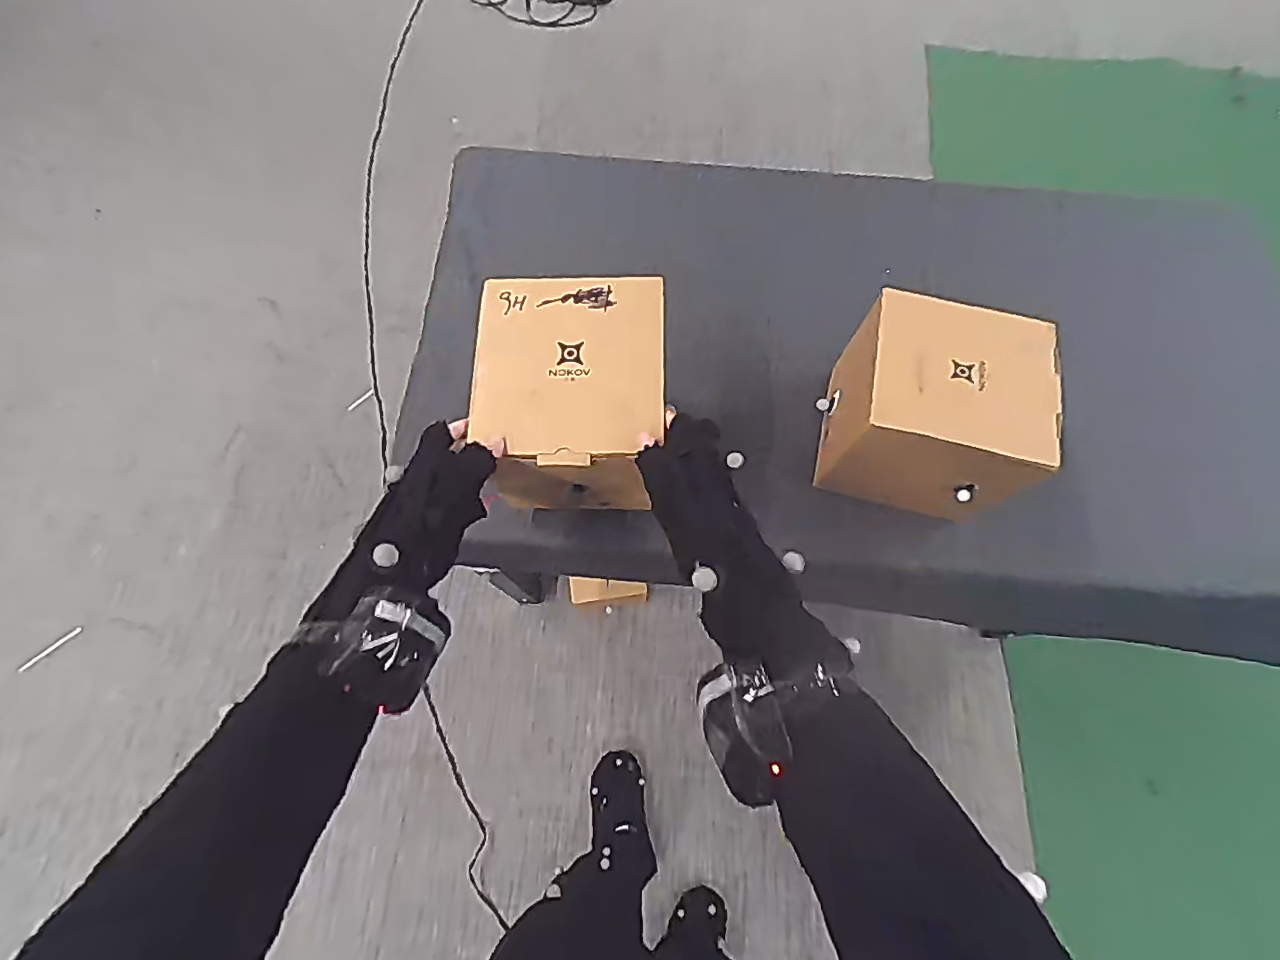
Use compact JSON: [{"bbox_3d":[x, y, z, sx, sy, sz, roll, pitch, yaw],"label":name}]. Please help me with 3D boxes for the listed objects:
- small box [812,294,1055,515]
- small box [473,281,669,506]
[{"bbox_3d":[0.313,-0.072,0.602,0.179,0.176,0.168,13,68,4],"label":"small box"},{"bbox_3d":[-0.054,-0.073,0.542,0.168,0.176,0.179,-1,74,1],"label":"small box"}]
